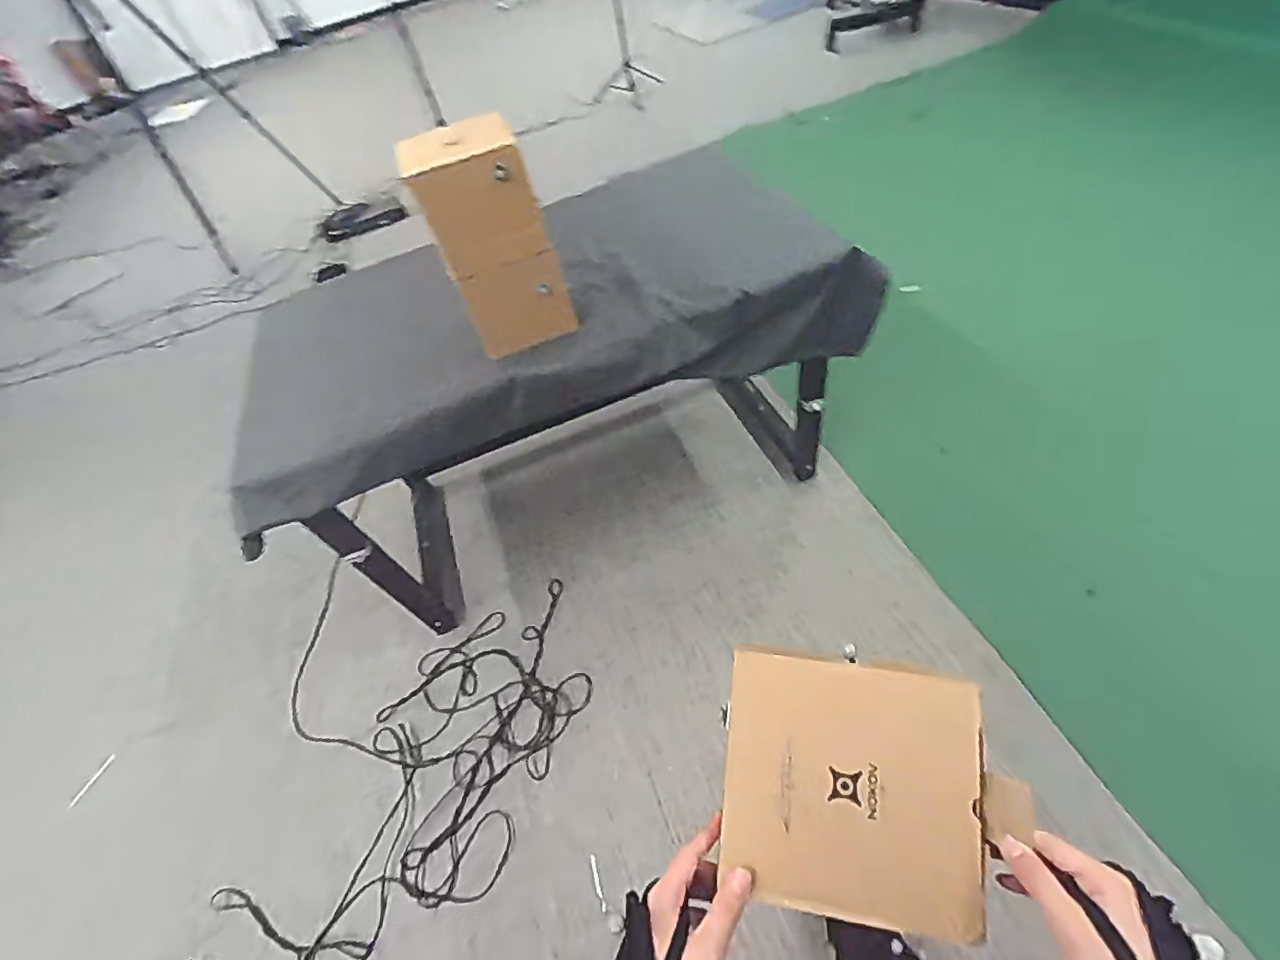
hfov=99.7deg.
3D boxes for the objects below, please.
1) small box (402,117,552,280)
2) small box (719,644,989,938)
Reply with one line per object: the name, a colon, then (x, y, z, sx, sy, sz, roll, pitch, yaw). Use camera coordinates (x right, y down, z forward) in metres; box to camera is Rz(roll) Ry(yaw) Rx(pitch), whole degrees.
small box: (-0.263, -0.455, 0.885, 0.179, 0.176, 0.168, -21, 50, -5)
small box: (0.160, 0.233, 0.457, 0.179, 0.176, 0.168, 3, 75, 10)
